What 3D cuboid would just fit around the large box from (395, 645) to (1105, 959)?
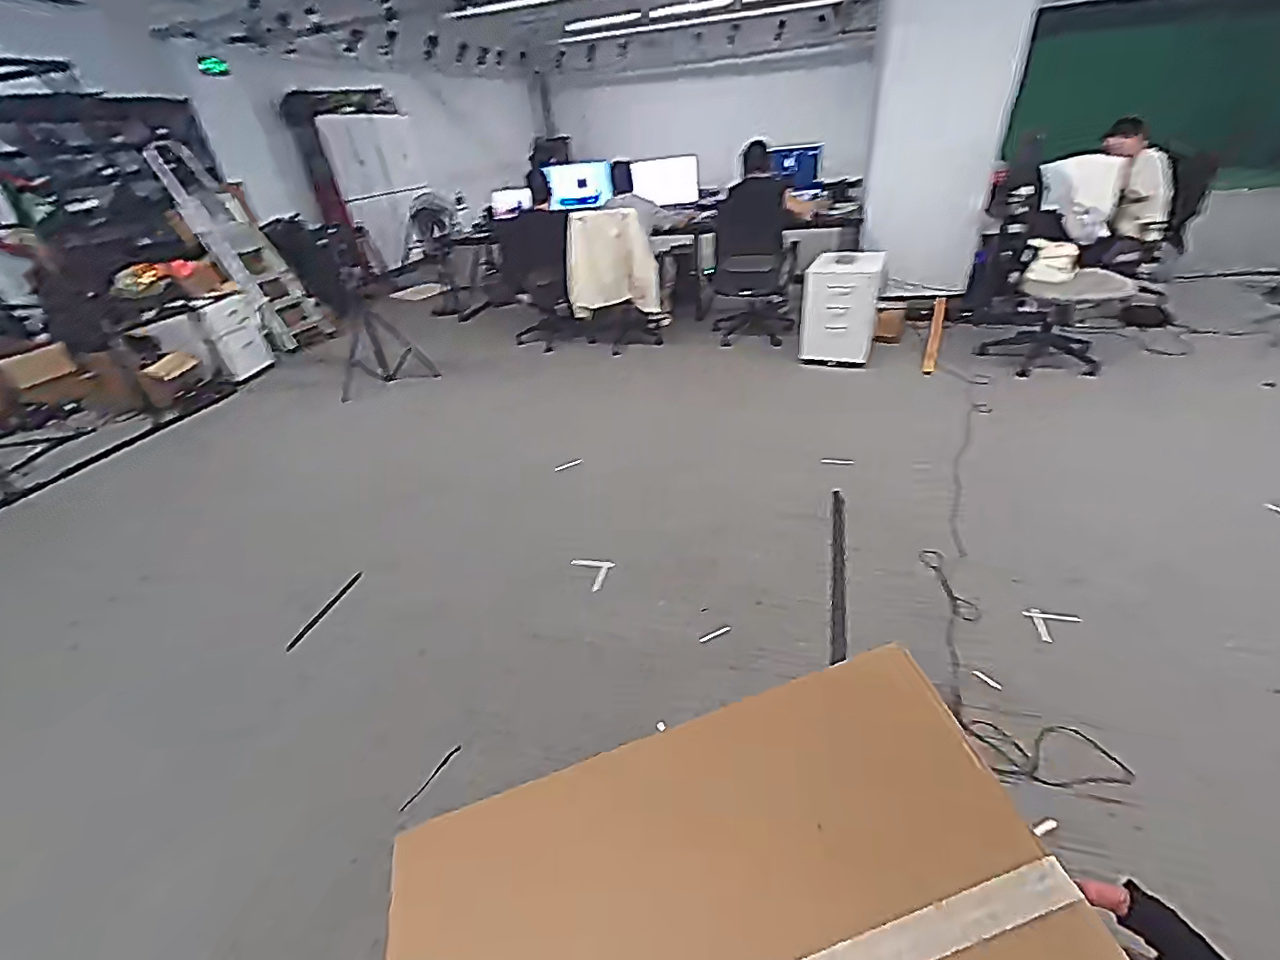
[{"bbox_3d":[0.083,0.396,0.409,0.408,0.320,0.320,-21,43,-3],"label":"large box"}]
